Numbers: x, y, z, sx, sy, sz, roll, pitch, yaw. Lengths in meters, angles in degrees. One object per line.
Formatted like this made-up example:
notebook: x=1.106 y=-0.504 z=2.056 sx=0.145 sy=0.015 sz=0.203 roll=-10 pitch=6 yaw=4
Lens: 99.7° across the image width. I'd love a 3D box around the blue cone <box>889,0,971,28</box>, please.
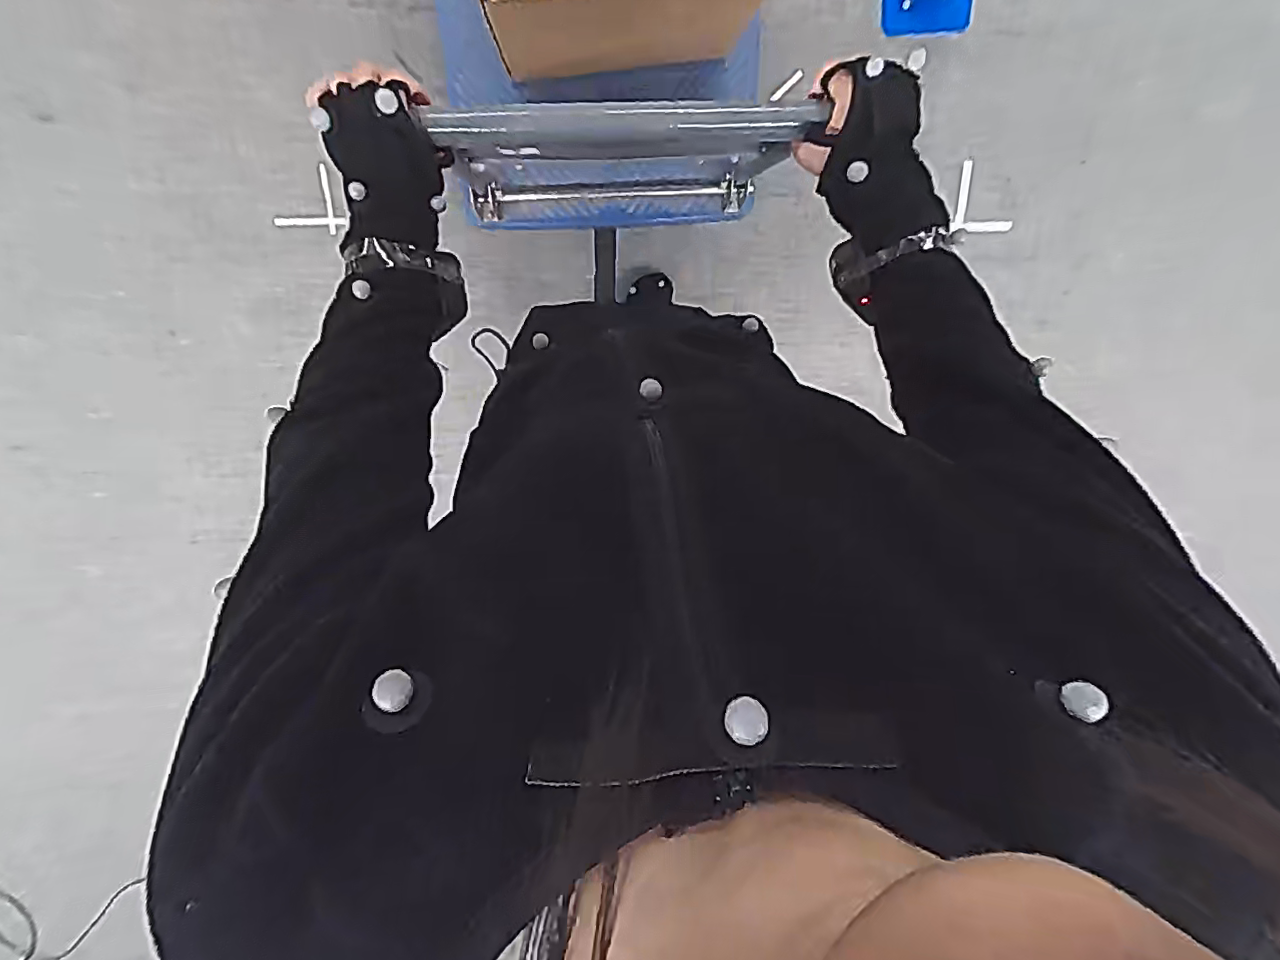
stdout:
blue cone: x=0.630 y=-1.012 z=0.978 sx=0.193 sy=0.380 sz=0.192 roll=-5 pitch=109 yaw=-5
